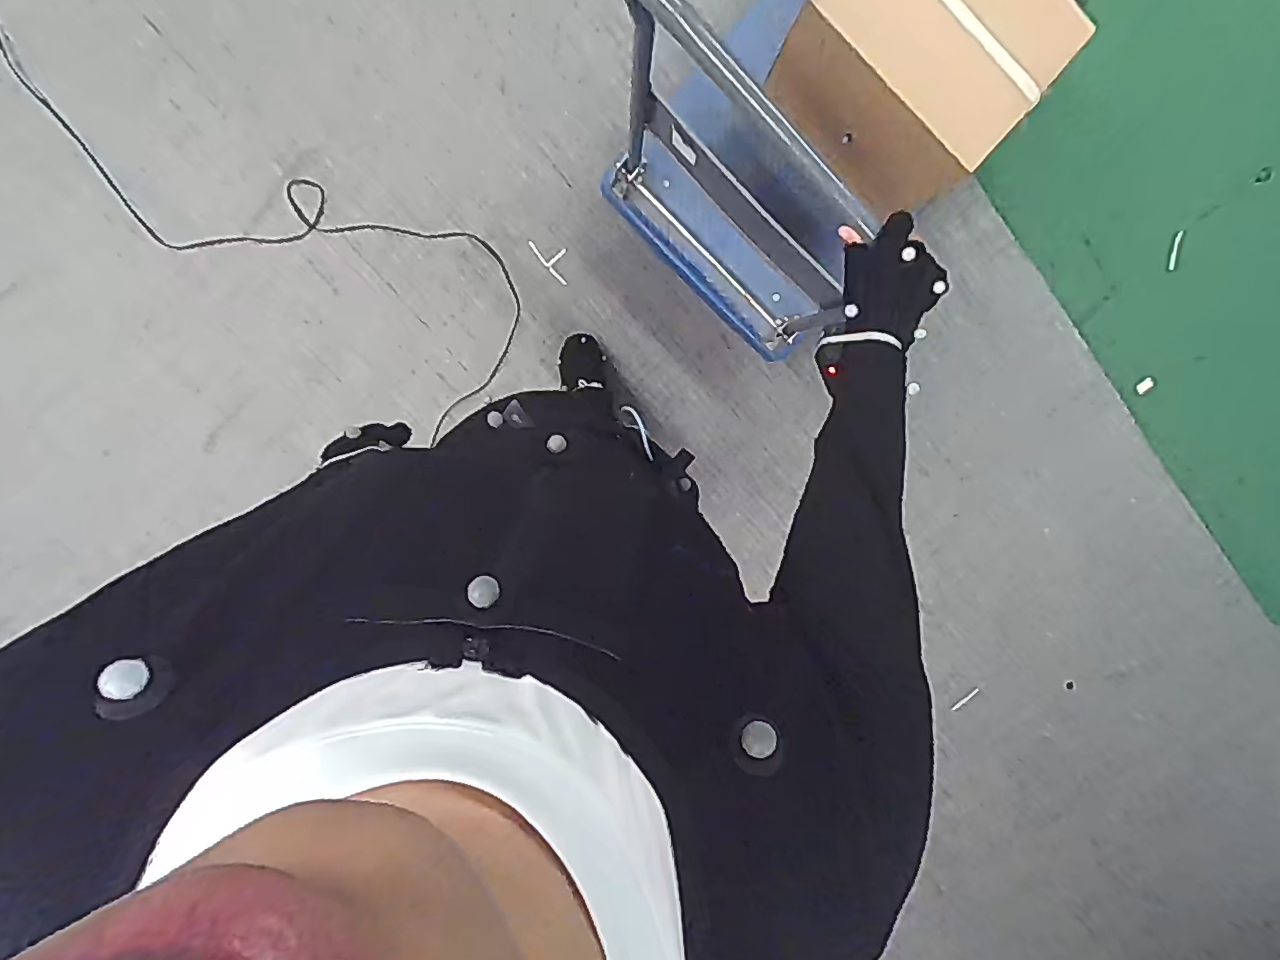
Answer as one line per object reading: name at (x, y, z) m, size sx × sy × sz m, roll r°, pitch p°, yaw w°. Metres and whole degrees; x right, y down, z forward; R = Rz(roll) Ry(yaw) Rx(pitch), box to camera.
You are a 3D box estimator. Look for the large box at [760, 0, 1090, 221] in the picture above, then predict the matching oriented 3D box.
large box at (0.511, -0.800, 1.048) m, size 0.408 × 0.320 × 0.320 m, roll 41°, pitch 94°, yaw -8°
